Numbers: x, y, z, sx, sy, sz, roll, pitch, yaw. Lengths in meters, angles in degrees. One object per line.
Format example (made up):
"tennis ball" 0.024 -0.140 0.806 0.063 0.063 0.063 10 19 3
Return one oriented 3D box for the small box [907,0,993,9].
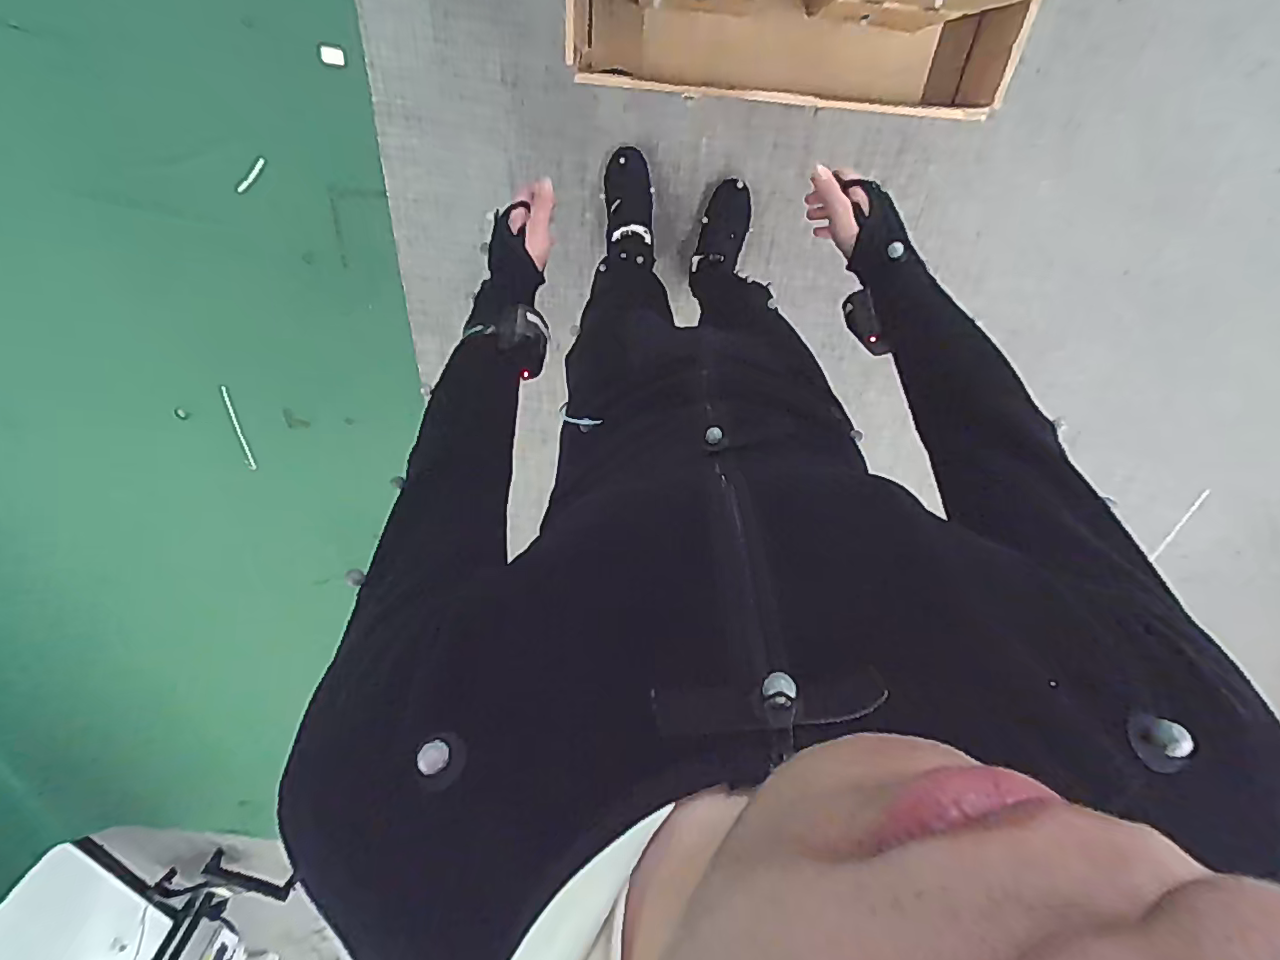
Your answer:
"small box" 0.342 -0.618 0.566 0.179 0.176 0.168 6 126 -3
